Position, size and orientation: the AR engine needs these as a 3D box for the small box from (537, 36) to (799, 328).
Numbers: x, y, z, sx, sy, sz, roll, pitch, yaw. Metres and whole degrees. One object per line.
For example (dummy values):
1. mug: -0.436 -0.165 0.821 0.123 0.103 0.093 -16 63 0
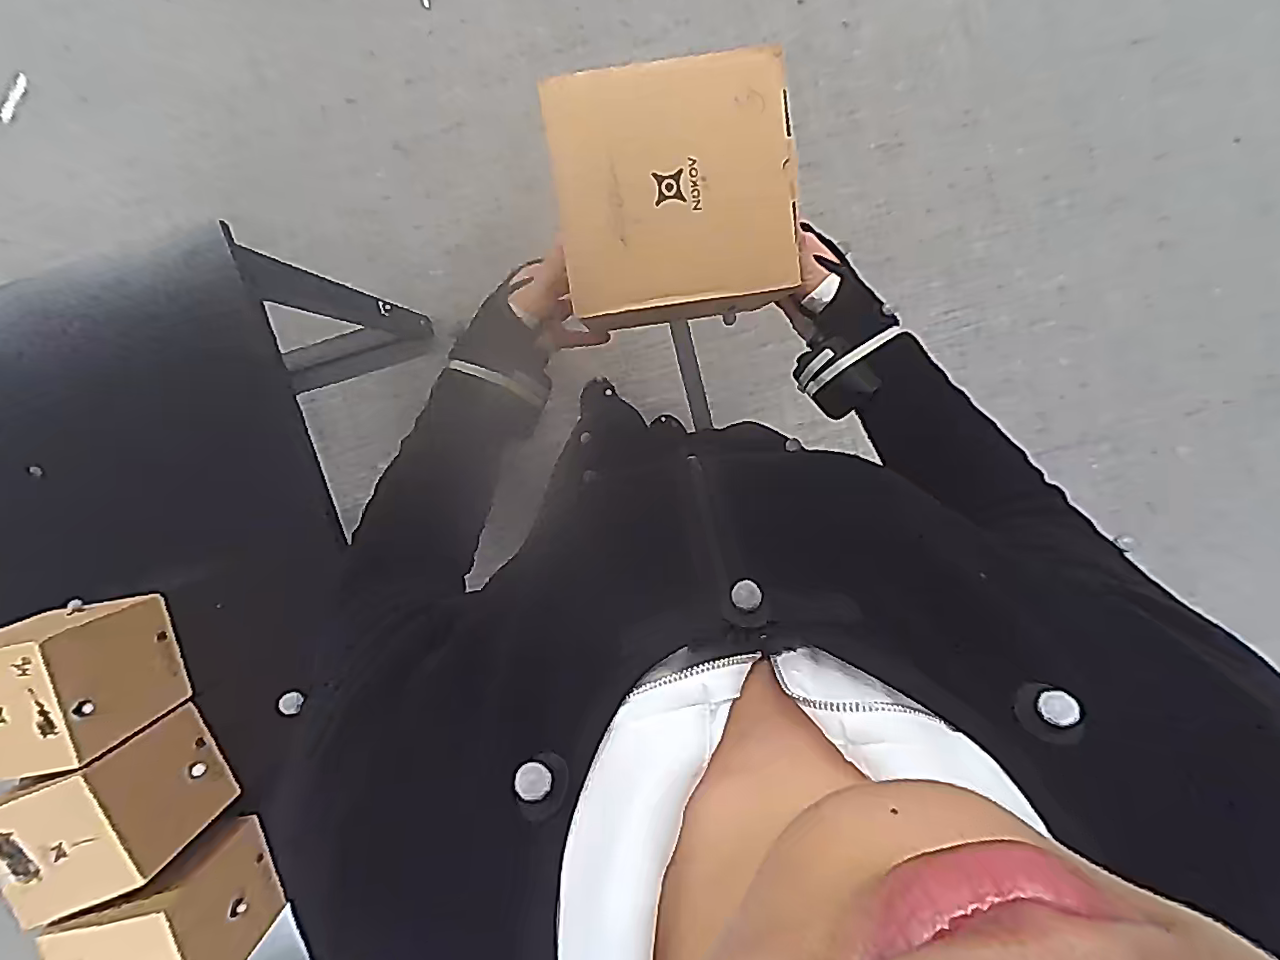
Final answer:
1. small box: 0.023 -0.232 0.470 0.179 0.176 0.168 -8 100 2

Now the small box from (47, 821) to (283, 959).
1. small box: -0.652 0.626 0.772 0.179 0.176 0.168 -12 96 3
